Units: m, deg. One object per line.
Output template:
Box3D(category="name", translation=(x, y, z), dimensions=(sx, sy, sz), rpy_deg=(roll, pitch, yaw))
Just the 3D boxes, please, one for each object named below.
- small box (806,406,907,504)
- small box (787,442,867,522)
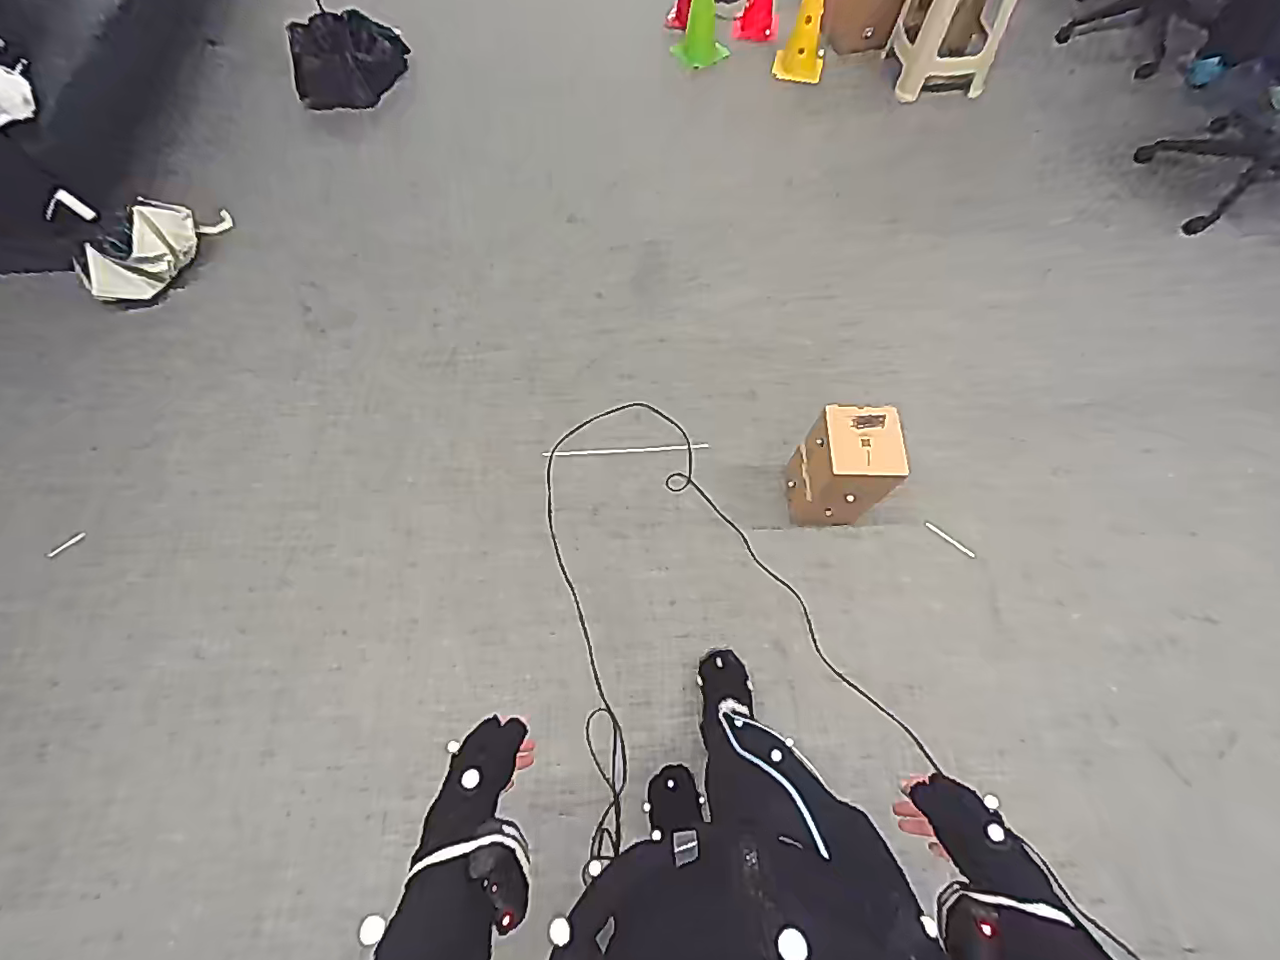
Box3D(category="small box", translation=(0.498, -0.057, 1.272), dimensions=(0.168, 0.176, 0.179), rpy_deg=(1, 67, 1))
Box3D(category="small box", translation=(0.493, 0.009, 1.423), dimensions=(0.179, 0.176, 0.168), rpy_deg=(0, 67, 1))
